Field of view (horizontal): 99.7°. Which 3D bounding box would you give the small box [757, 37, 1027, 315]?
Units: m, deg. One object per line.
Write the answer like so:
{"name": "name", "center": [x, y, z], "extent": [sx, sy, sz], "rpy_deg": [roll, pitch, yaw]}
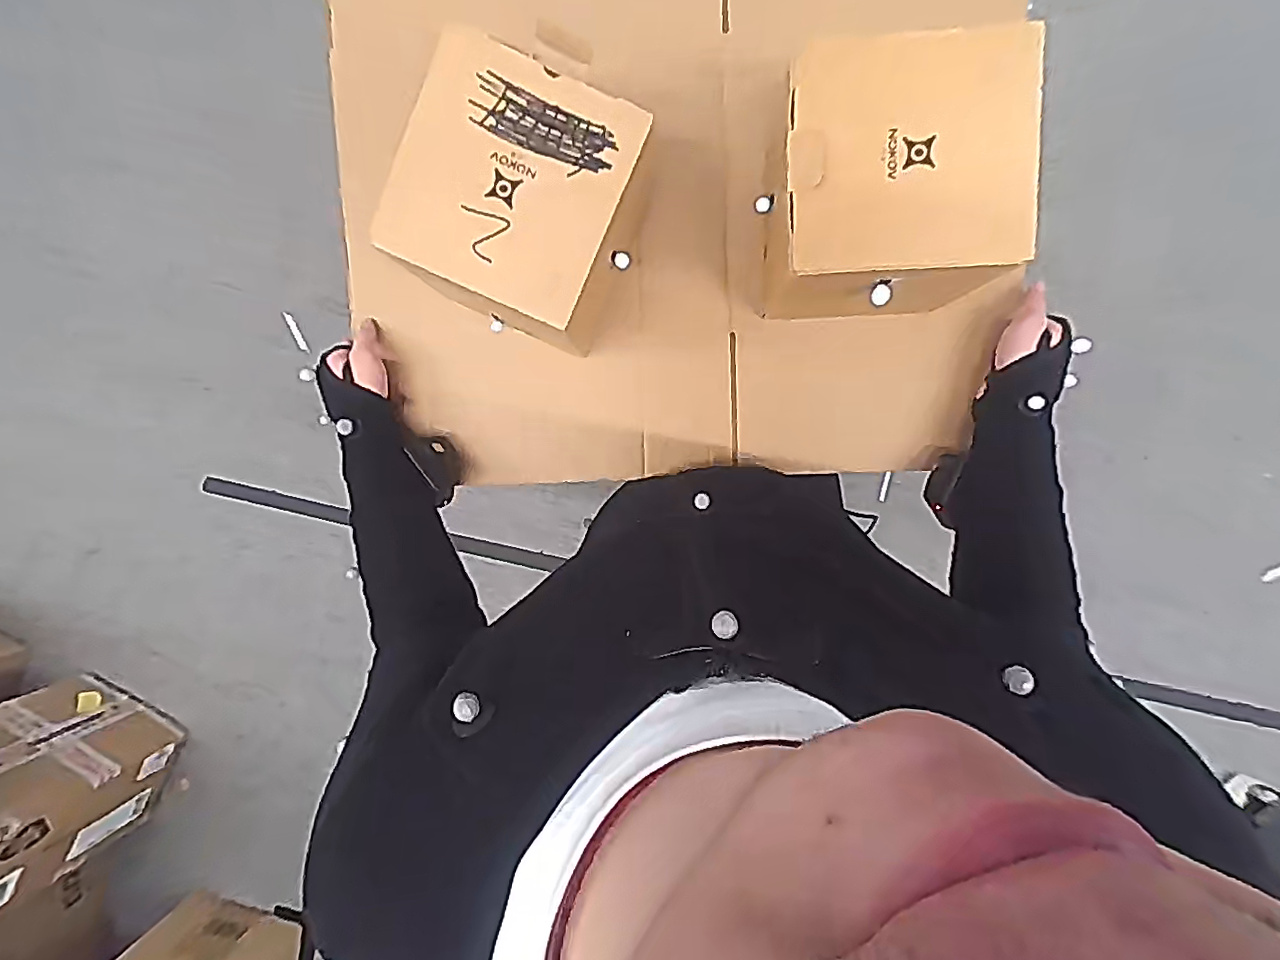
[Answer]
{"name": "small box", "center": [0.207, -0.252, 0.492], "extent": [0.179, 0.176, 0.168], "rpy_deg": [-1, 95, 6]}
